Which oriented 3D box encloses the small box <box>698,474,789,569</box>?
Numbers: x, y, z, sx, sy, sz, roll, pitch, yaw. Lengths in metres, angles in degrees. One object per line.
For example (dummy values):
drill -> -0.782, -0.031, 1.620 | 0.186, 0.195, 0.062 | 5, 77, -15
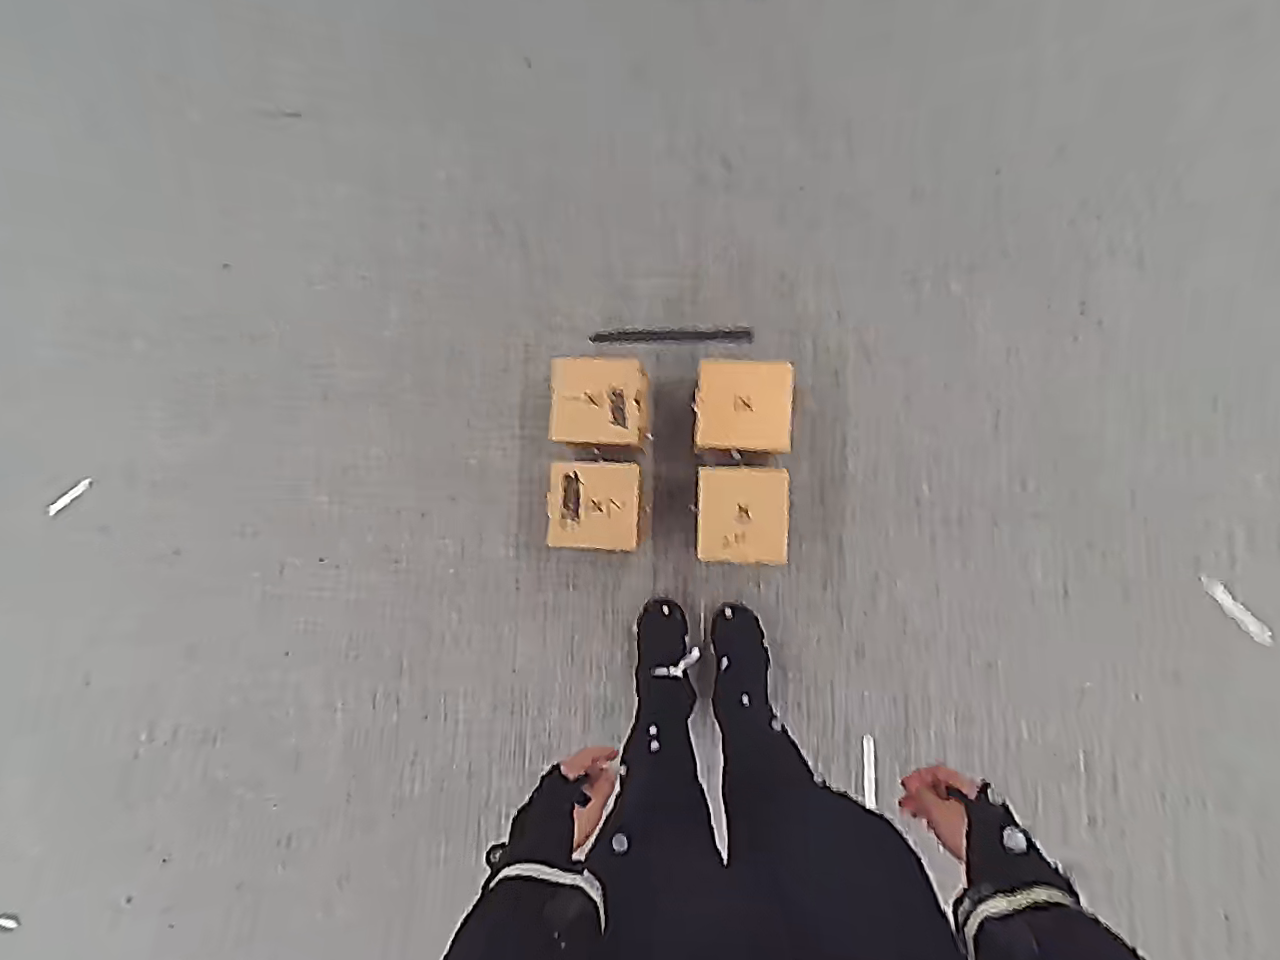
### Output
small box -> 0.204, 0.083, 1.097 | 0.168, 0.176, 0.179 | 2, 87, 6
